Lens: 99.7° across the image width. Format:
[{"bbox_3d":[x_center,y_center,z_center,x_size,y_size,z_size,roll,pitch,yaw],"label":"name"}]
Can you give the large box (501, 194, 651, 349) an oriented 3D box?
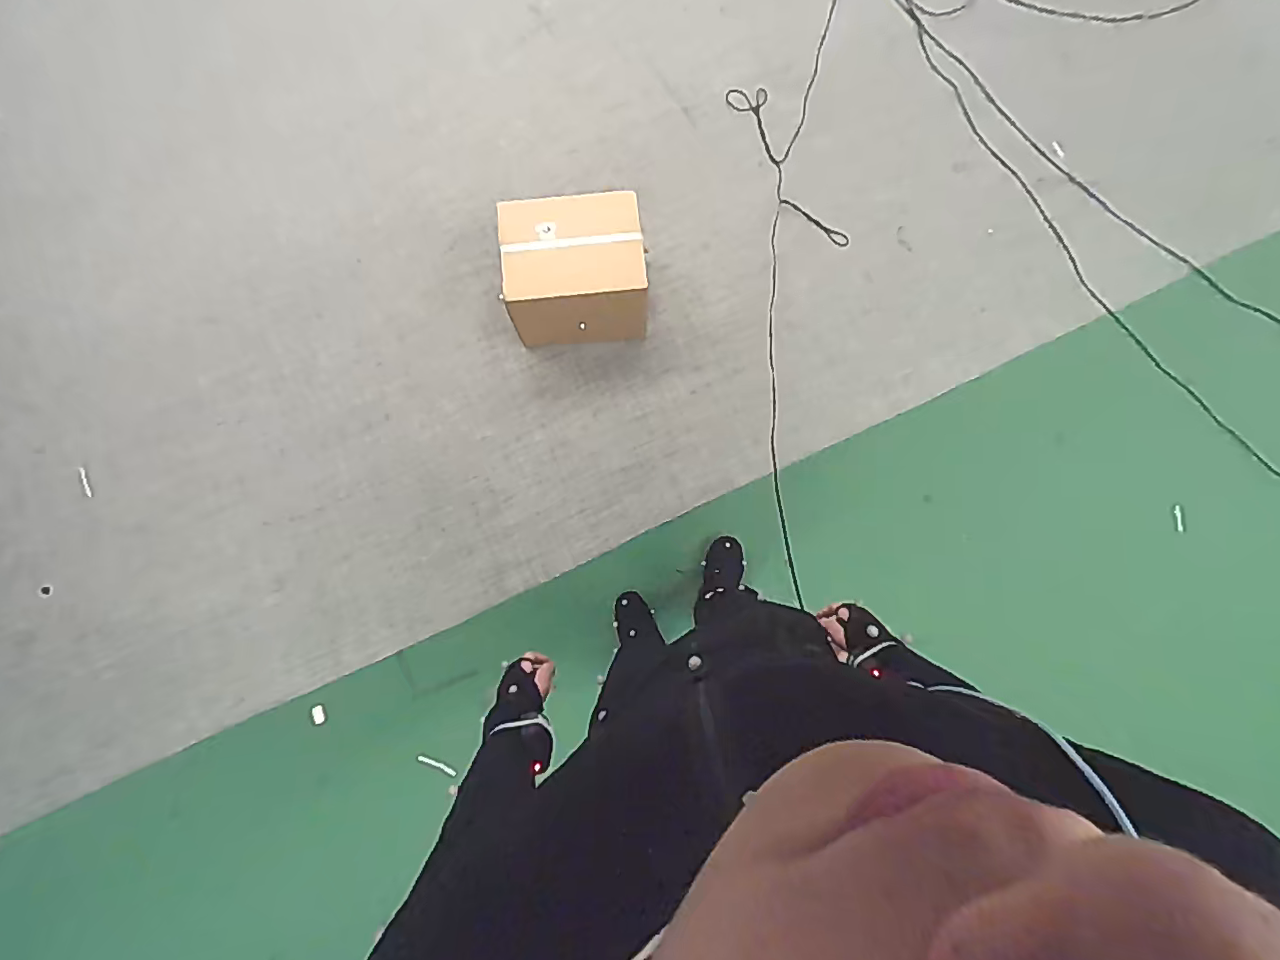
[{"bbox_3d":[-0.184,-0.628,1.672,0.408,0.320,0.320,-6,79,-1],"label":"large box"}]
